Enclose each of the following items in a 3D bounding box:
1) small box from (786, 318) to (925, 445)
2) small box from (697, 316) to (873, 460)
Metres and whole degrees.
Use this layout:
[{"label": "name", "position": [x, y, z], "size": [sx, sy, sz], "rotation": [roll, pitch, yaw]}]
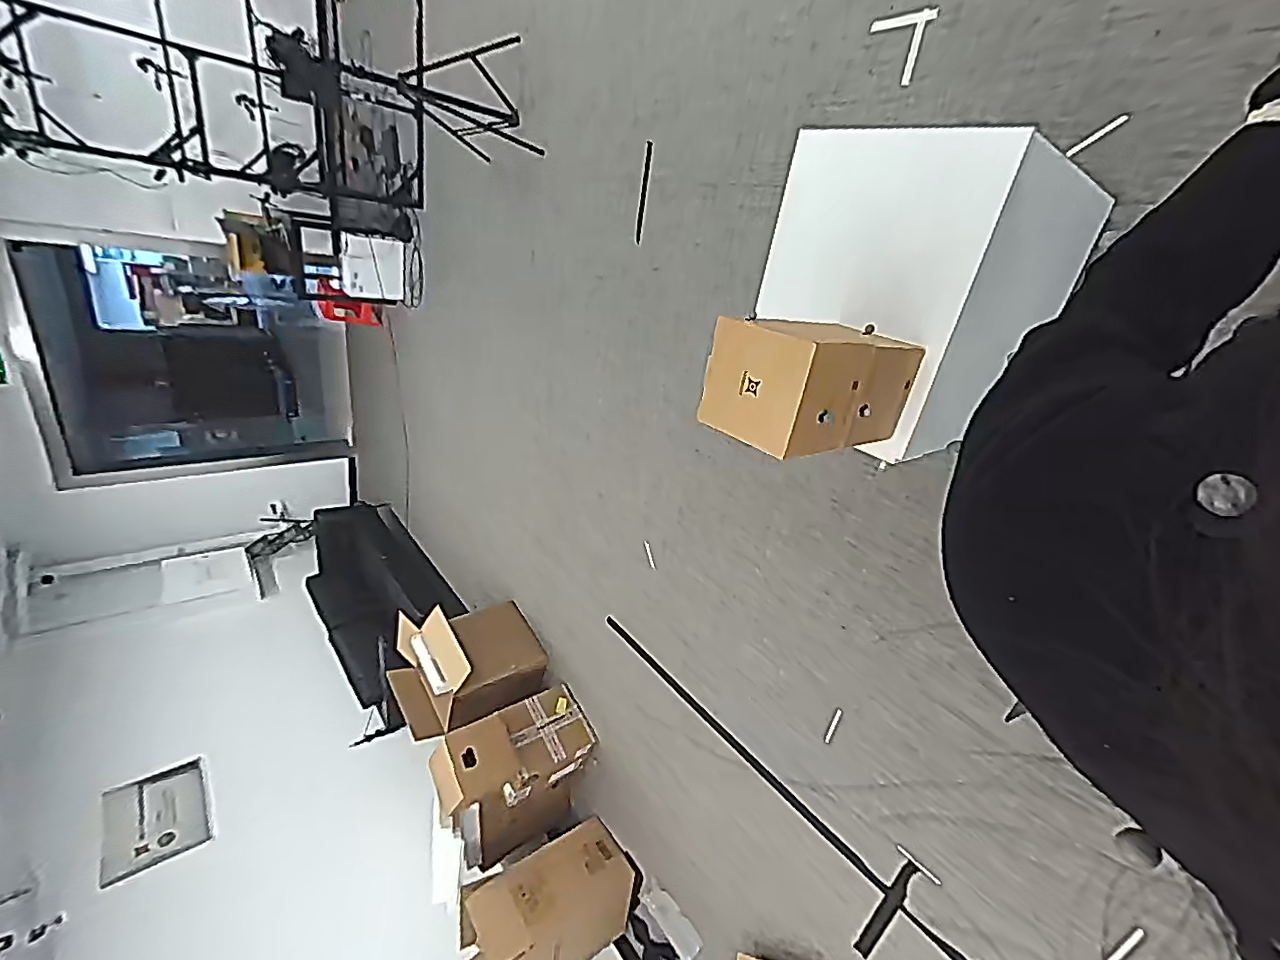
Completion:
[{"label": "small box", "position": [0.343, -0.171, 0.923], "size": [0.179, 0.176, 0.168], "rotation": [35, 124, 42]}, {"label": "small box", "position": [0.218, -0.147, 0.819], "size": [0.179, 0.176, 0.168], "rotation": [33, 123, 42]}]
